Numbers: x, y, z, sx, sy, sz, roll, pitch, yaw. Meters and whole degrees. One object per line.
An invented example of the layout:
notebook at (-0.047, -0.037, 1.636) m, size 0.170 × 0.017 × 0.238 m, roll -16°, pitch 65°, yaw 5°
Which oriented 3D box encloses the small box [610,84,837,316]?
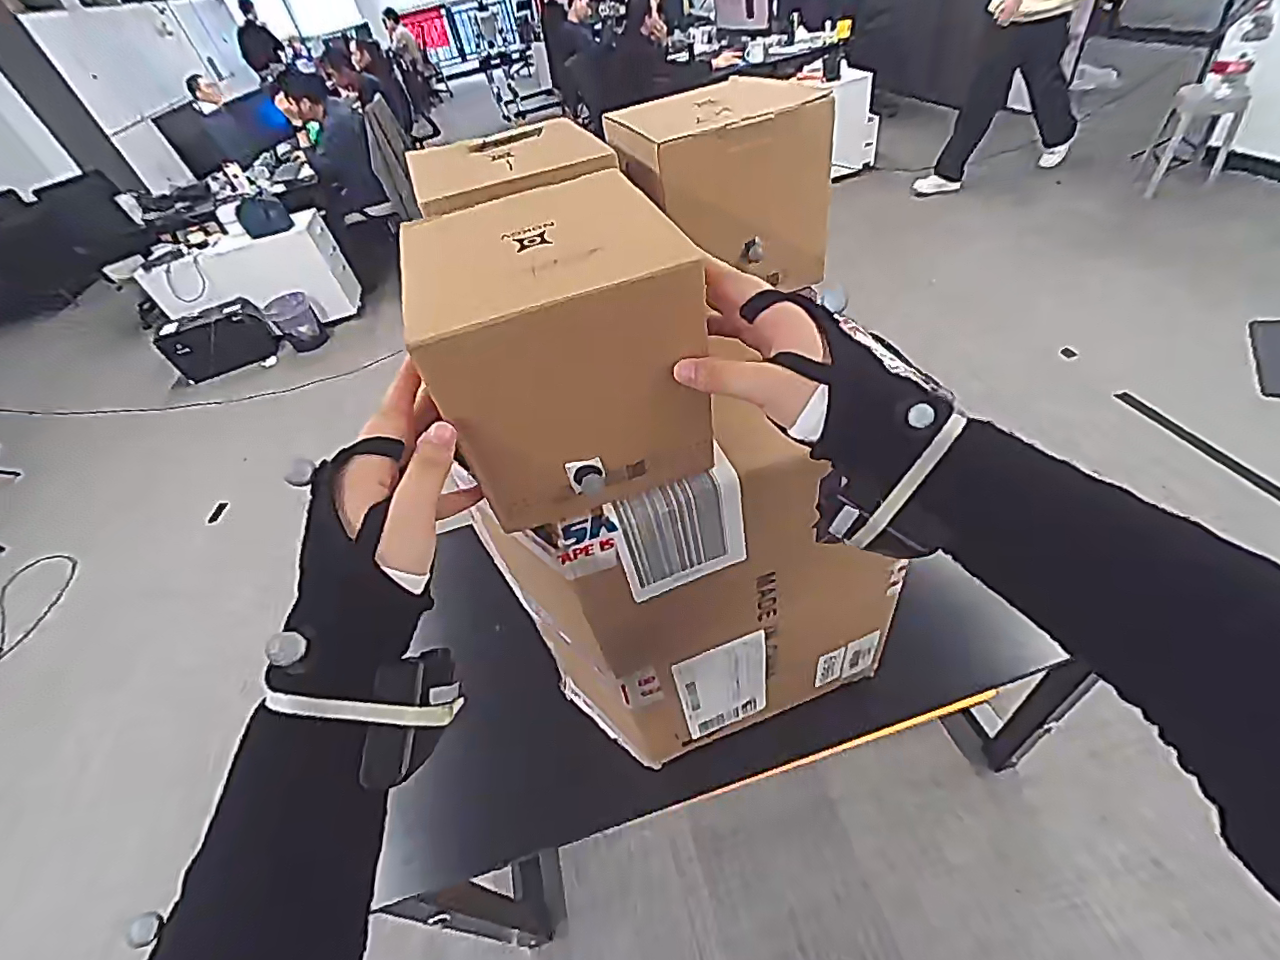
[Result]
small box at (0.080, -0.290, 0.567) m, size 0.168 × 0.176 × 0.179 m, roll -20°, pitch 43°, yaw -6°

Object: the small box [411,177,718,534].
small box at (-0.052, -0.092, 0.399) m, size 0.168 × 0.176 × 0.179 m, roll -20°, pitch 47°, yaw -7°
